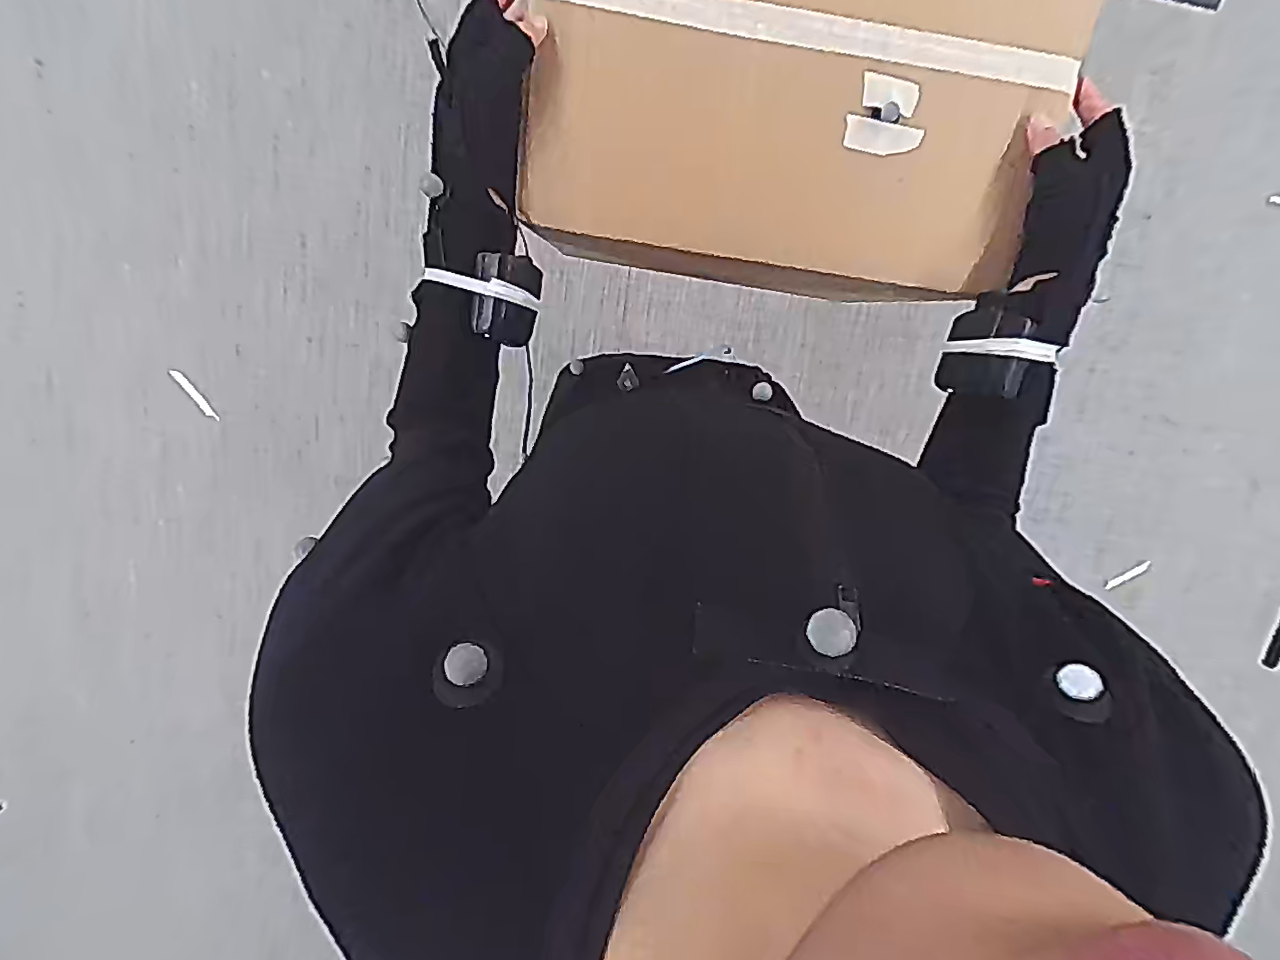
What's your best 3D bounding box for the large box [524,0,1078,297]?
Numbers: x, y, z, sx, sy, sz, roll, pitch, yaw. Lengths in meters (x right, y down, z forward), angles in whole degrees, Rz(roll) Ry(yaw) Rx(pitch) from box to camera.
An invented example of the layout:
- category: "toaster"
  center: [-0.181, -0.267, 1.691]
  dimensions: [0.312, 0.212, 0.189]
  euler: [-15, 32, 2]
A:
- category: "large box"
  center: [0.113, -0.373, 0.546]
  dimensions: [0.408, 0.320, 0.320]
  euler: [7, 108, -4]
